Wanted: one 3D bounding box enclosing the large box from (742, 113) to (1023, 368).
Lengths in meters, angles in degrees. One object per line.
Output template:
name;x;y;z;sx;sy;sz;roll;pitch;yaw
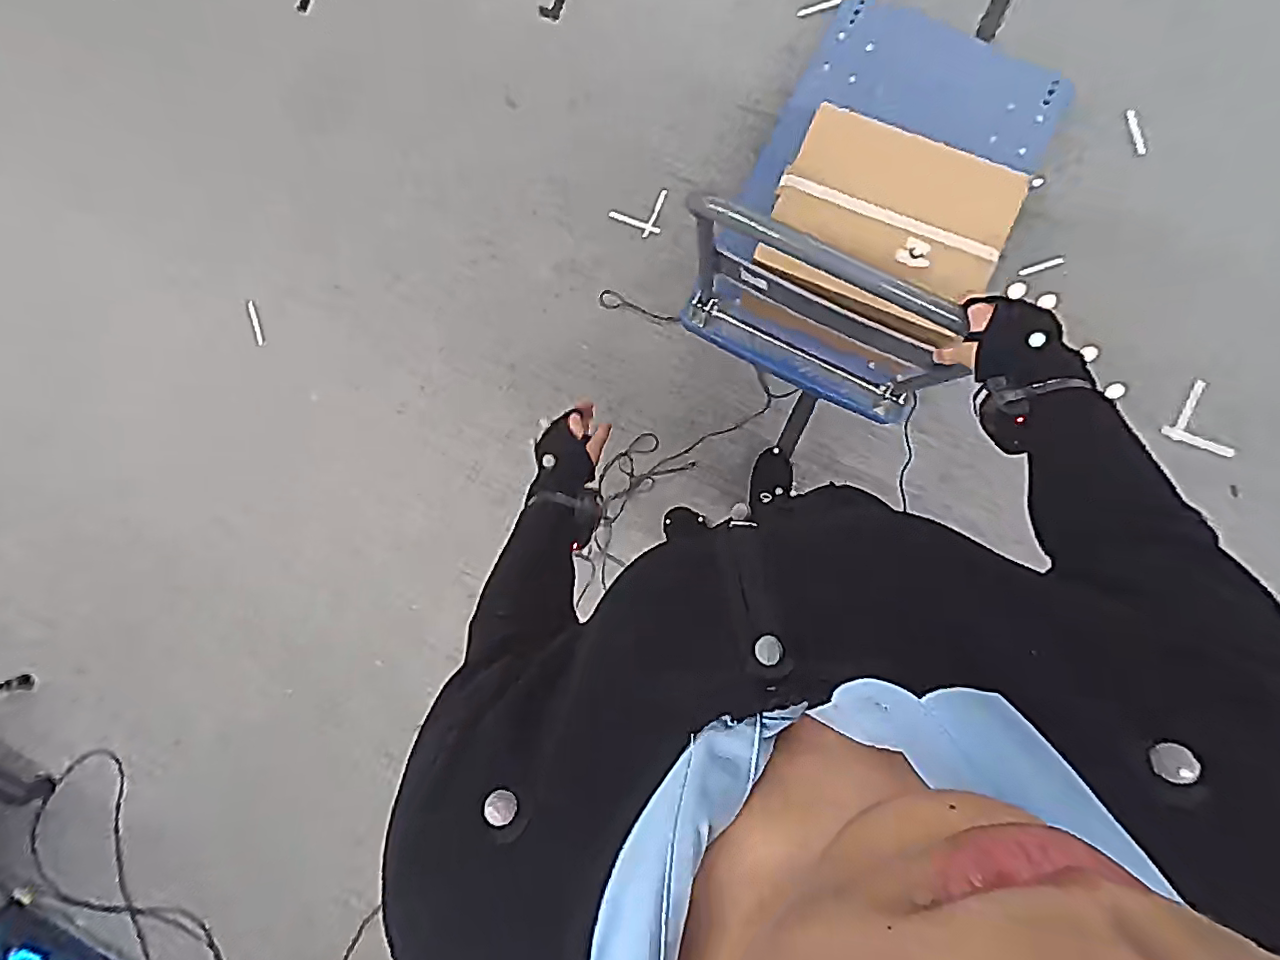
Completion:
large box;0.469;-0.478;1.150;0.408;0.320;0.320;24;94;5
